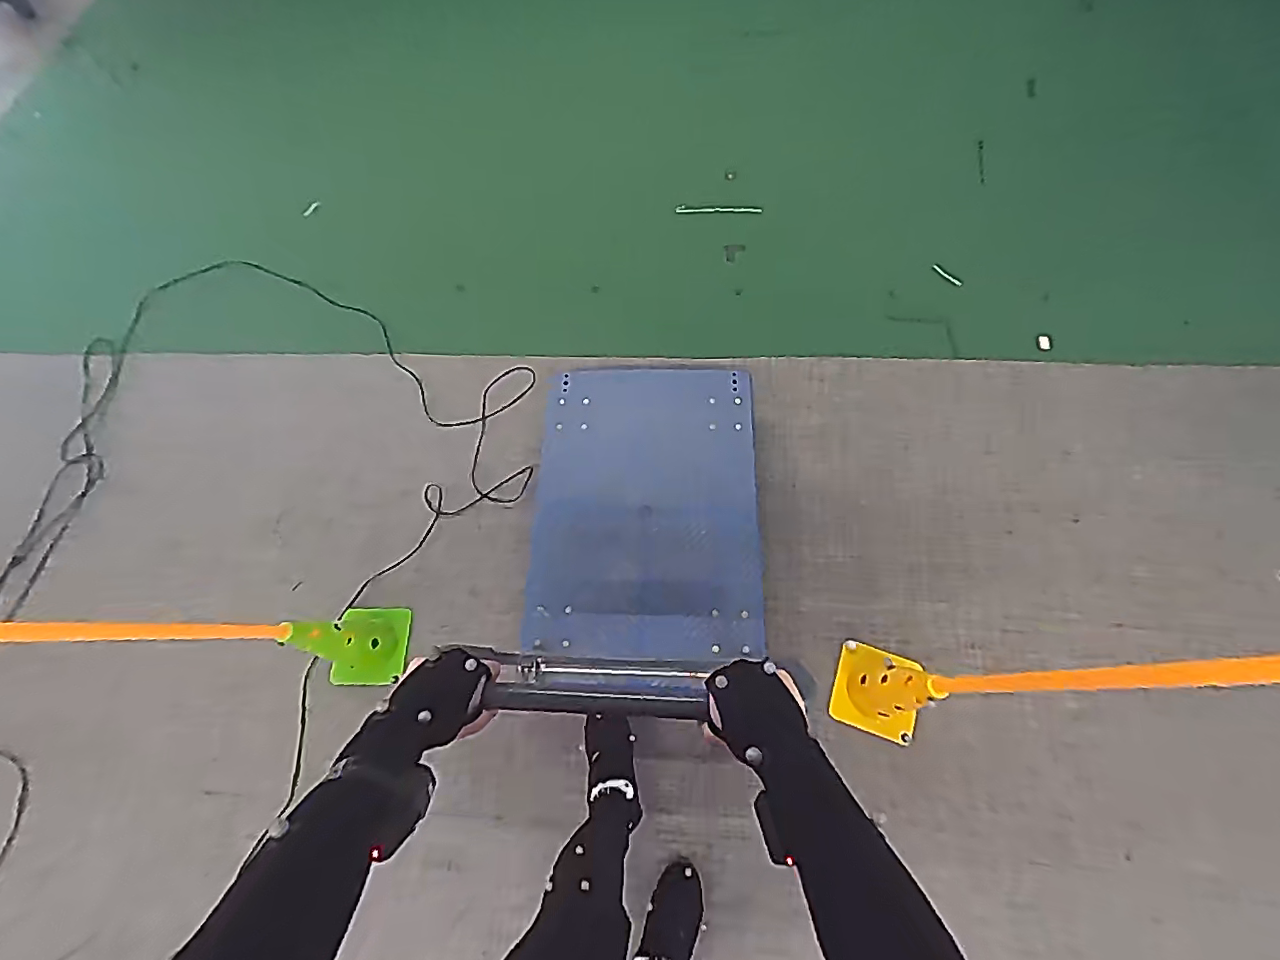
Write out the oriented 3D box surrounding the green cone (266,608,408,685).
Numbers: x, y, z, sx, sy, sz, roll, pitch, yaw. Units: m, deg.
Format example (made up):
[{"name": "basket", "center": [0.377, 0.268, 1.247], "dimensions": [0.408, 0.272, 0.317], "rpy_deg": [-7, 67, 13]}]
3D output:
[{"name": "green cone", "center": [-0.756, 0.387, 1.316], "dimensions": [0.202, 0.368, 0.200], "rpy_deg": [-3, 67, 5]}]
